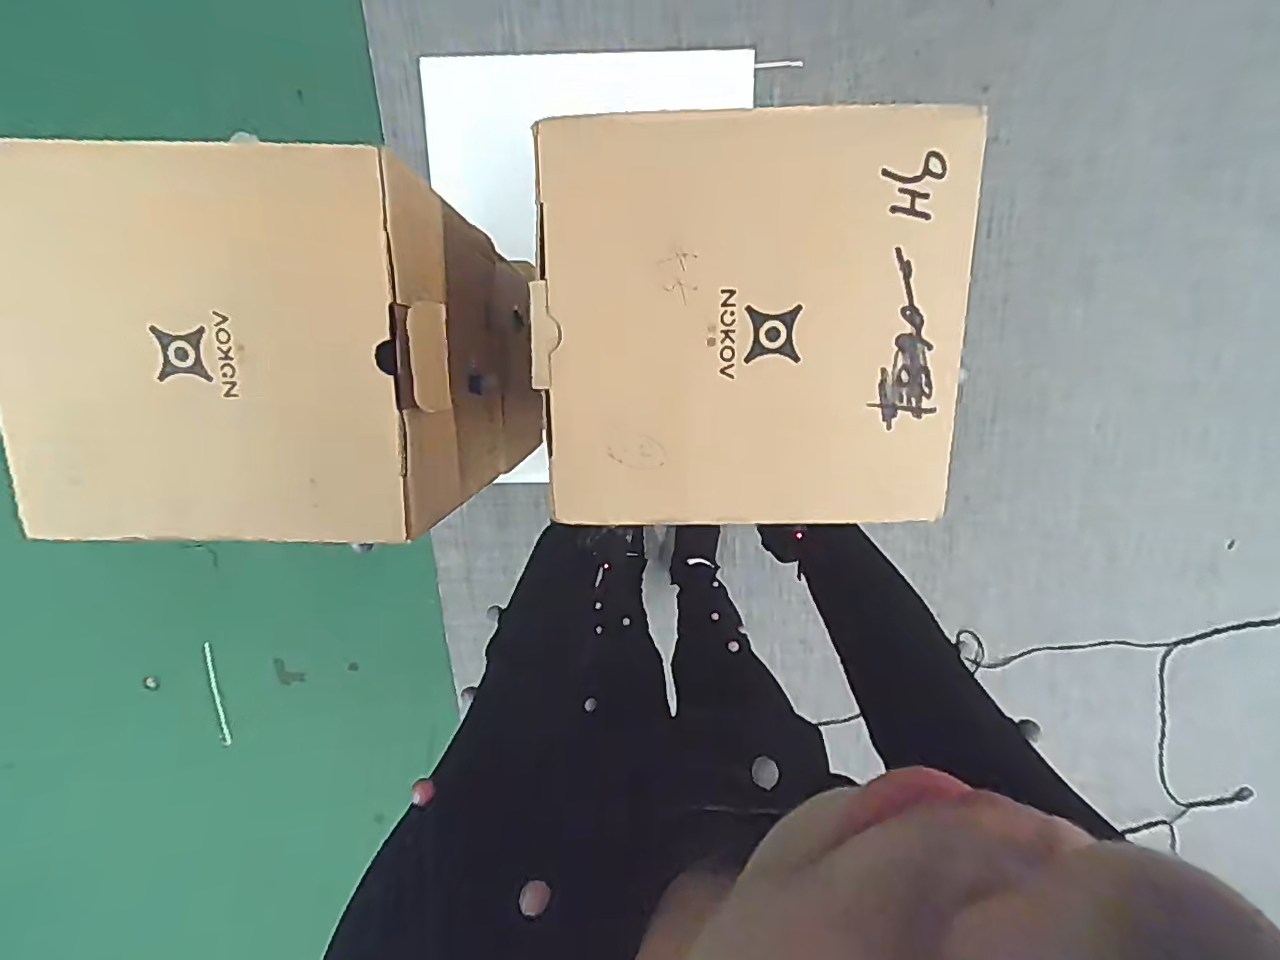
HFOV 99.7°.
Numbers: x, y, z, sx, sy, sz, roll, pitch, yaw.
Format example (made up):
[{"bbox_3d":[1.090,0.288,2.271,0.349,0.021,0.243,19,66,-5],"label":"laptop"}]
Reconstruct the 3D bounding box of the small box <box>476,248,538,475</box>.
[{"bbox_3d":[-0.187,-0.098,0.469,0.179,0.176,0.168,-2,101,0],"label":"small box"}]

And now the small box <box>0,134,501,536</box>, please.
[{"bbox_3d":[-0.188,-0.070,0.308,0.179,0.176,0.168,0,101,-1],"label":"small box"}]

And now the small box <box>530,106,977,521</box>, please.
[{"bbox_3d":[0.047,-0.079,0.304,0.179,0.176,0.168,0,102,3],"label":"small box"}]
